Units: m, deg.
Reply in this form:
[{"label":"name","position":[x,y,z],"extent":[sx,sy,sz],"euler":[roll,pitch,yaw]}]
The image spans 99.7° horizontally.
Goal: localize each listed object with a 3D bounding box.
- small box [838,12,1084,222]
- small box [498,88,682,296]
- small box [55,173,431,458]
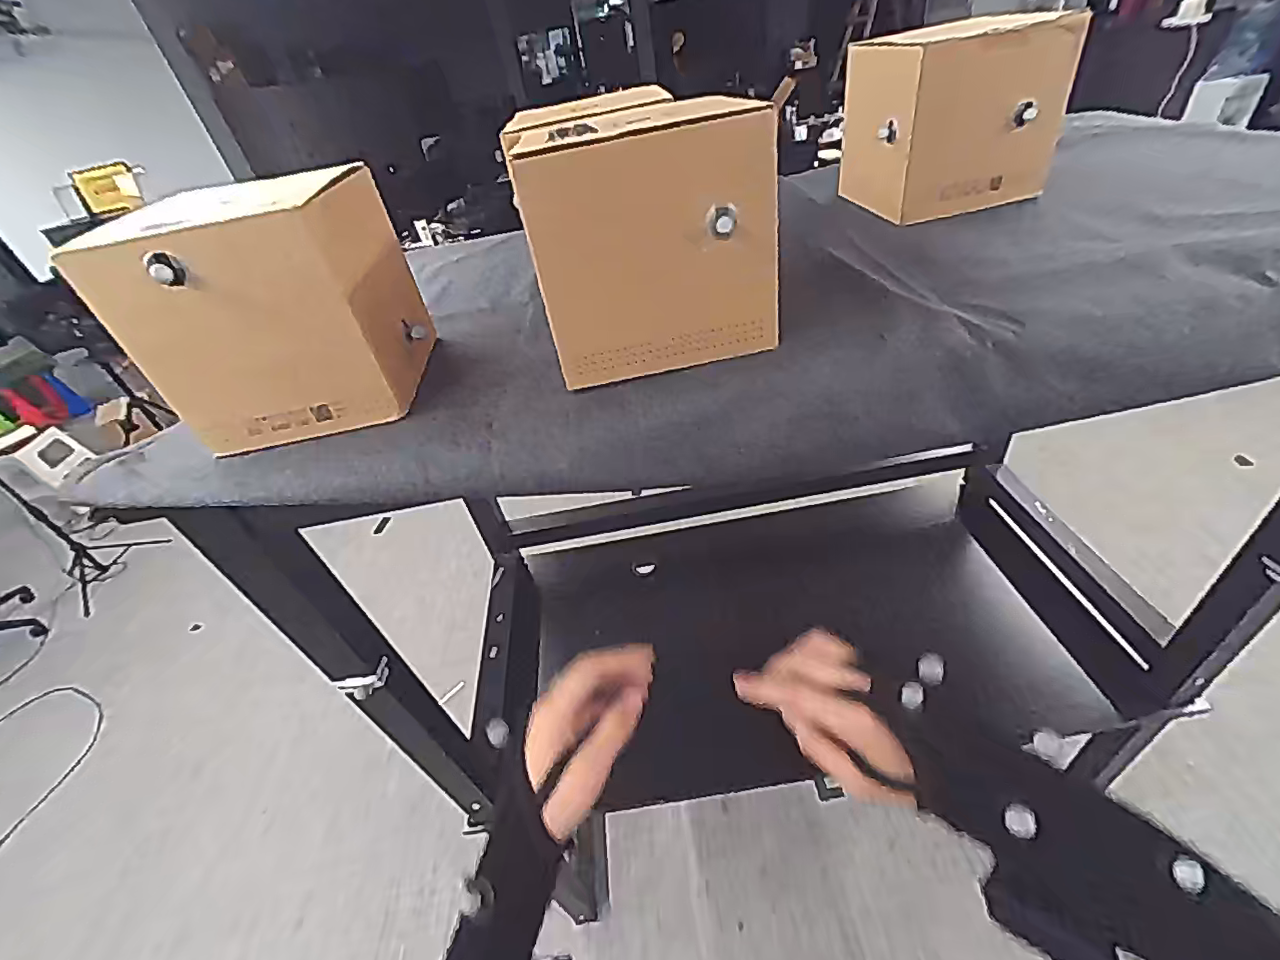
[{"label":"small box","position":[0.346,-0.414,0.626],"extent":[0.168,0.176,0.179],"euler":[-11,40,0]},{"label":"small box","position":[-0.048,-0.338,0.639],"extent":[0.179,0.176,0.168],"euler":[-10,39,3]},{"label":"small box","position":[-0.298,-0.144,0.463],"extent":[0.168,0.176,0.179],"euler":[-12,39,-1]}]
